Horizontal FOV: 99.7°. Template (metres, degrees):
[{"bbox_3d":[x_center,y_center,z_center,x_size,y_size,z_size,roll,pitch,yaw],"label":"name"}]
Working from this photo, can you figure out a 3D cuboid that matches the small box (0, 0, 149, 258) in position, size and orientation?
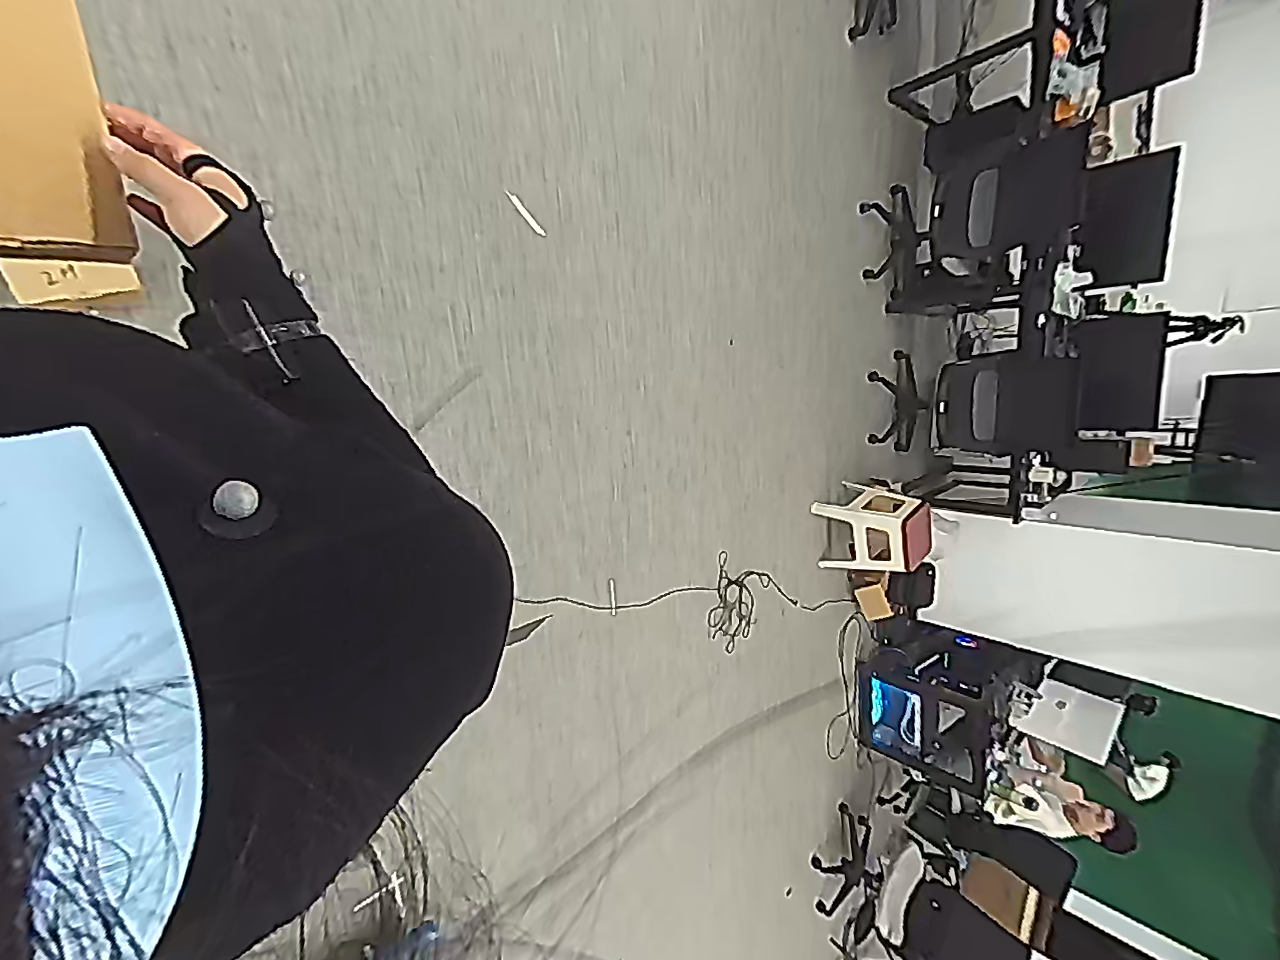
[{"bbox_3d":[-0.480,-0.257,0.379,0.168,0.176,0.179,-16,116,-41],"label":"small box"}]

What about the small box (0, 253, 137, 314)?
[{"bbox_3d":[-1.043,-0.409,0.964,0.168,0.176,0.179,-27,113,-36],"label":"small box"}]
